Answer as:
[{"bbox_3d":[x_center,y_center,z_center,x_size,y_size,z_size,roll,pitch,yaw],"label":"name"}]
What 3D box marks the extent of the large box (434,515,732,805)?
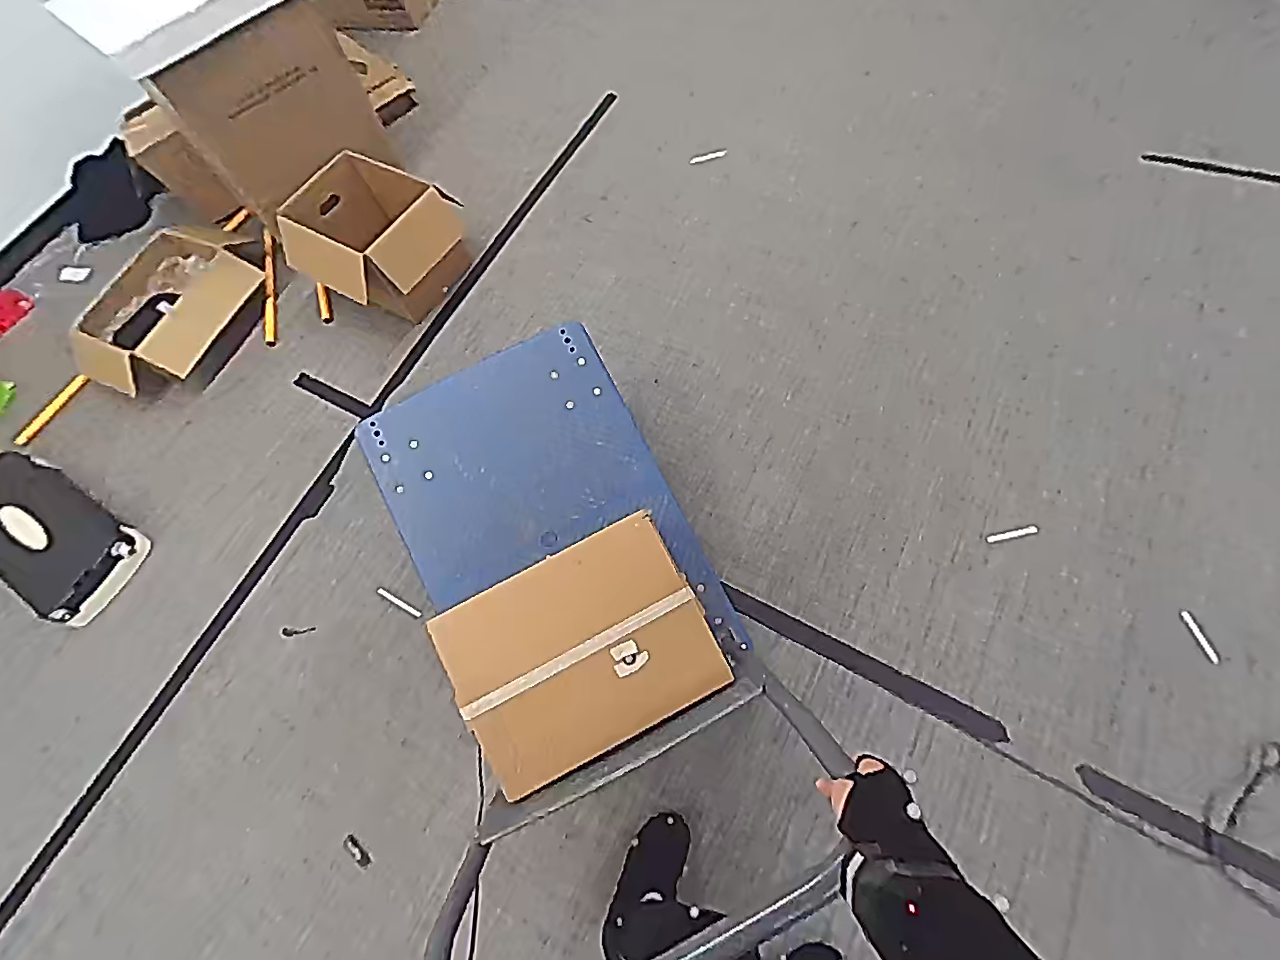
[{"bbox_3d":[-0.096,0.307,1.021,0.408,0.320,0.320,-28,83,-5],"label":"large box"}]
